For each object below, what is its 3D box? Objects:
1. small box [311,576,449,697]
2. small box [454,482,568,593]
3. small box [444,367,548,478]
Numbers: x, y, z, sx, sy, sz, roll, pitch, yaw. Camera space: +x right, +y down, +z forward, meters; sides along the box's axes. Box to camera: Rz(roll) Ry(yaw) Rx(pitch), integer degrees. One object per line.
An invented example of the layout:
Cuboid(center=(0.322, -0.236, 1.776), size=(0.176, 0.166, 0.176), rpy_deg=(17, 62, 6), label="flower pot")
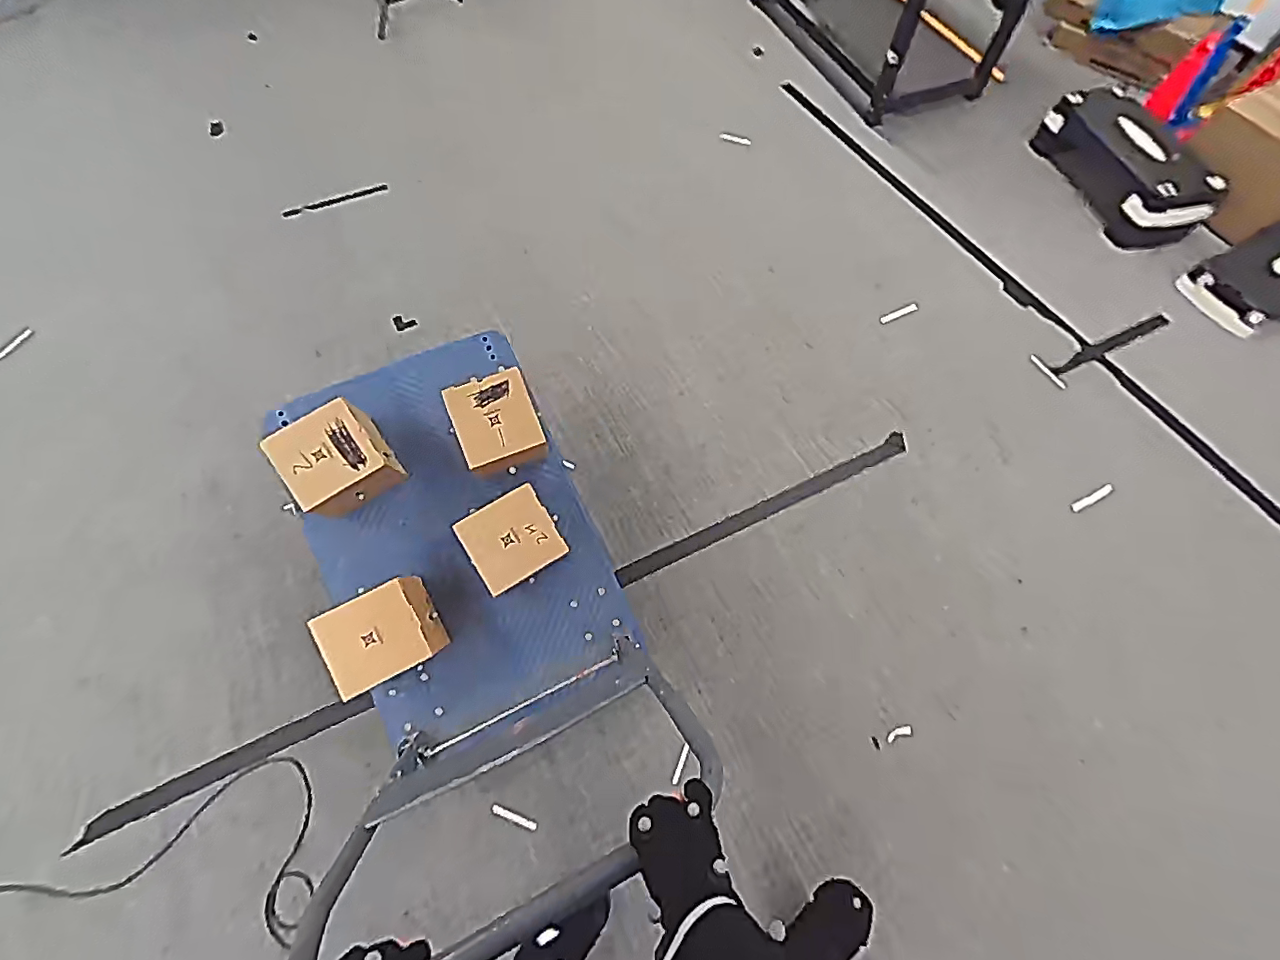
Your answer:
Cuboid(center=(-0.513, 0.307, 1.092), size=(0.179, 0.176, 0.168), rpy_deg=(-27, 86, -13), label="small box")
Cuboid(center=(-0.266, 0.126, 1.155), size=(0.179, 0.176, 0.168), rpy_deg=(-31, 87, -11), label="small box")
Cuboid(center=(-0.310, -0.120, 1.188), size=(0.168, 0.176, 0.179), rpy_deg=(-21, 86, -11), label="small box")
